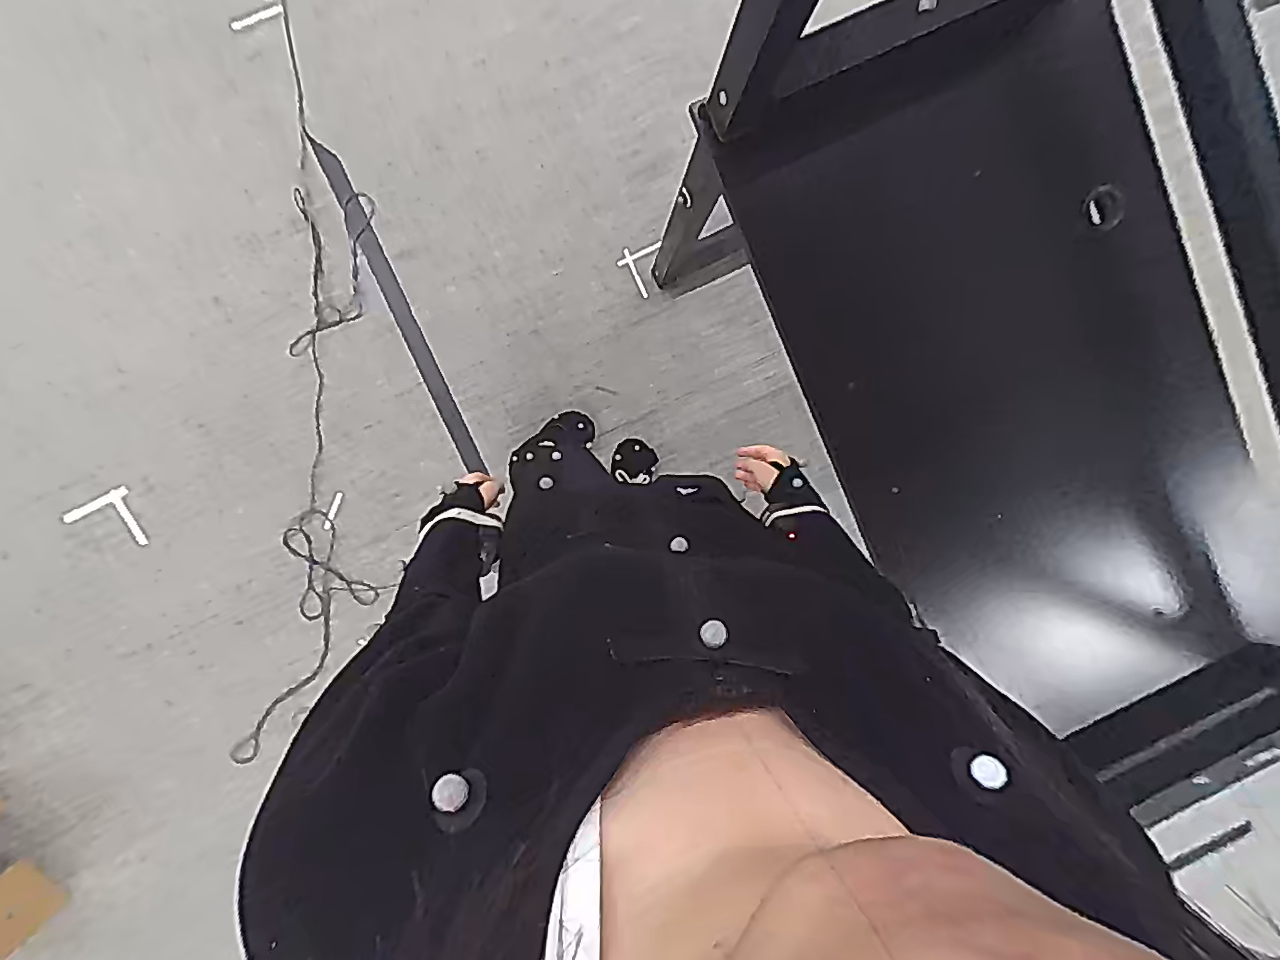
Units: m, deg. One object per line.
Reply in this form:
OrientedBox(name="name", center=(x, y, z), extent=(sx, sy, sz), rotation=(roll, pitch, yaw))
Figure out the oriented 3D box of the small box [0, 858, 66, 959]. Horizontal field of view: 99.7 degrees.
OrientedBox(name="small box", center=(-1.657, 1.125, 1.380), extent=(0.168, 0.176, 0.179), rotation=(-37, 98, -1))
